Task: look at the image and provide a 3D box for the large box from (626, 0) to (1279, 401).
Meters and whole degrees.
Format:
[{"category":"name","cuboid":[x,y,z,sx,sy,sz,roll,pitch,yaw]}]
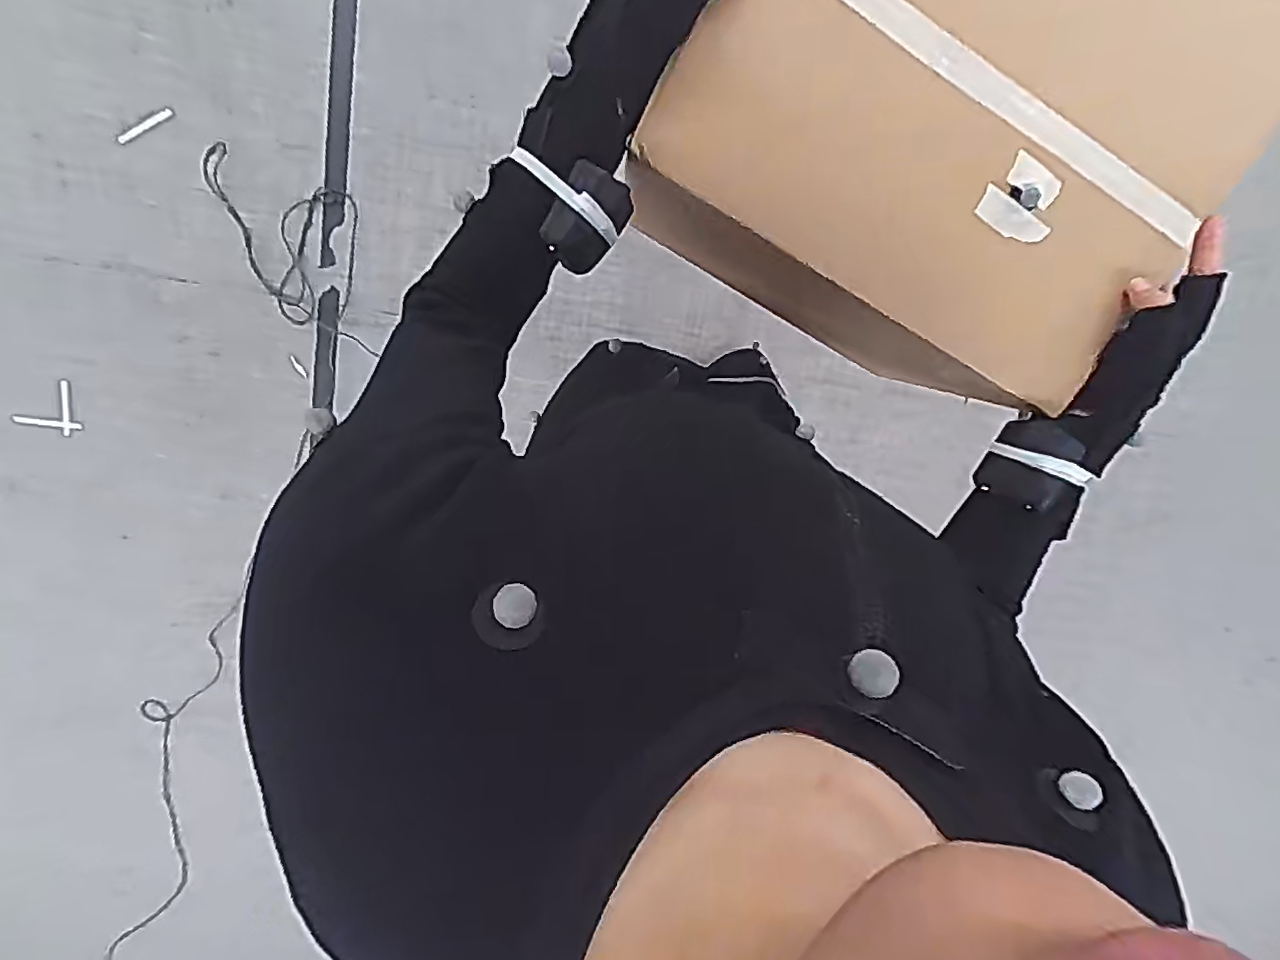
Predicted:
[{"category":"large box","cuboid":[0.232,-0.324,0.533,0.408,0.320,0.320,27,105,-11]}]
